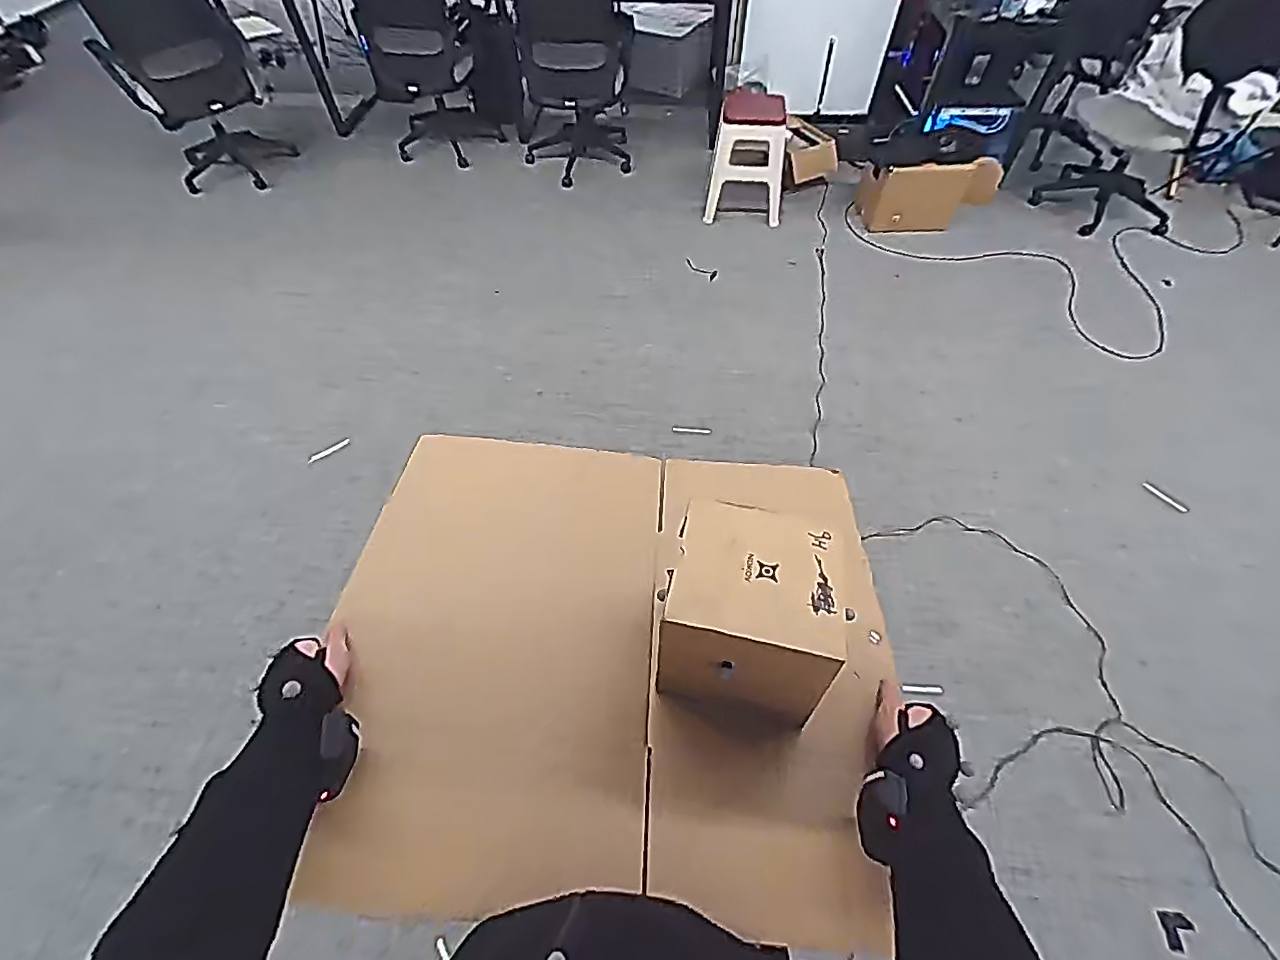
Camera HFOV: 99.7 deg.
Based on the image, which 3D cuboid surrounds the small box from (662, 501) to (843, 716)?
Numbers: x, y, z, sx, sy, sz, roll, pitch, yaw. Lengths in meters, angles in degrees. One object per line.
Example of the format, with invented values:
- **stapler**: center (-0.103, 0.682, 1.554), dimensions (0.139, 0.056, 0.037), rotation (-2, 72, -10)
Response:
- **small box**: center (0.125, 0.151, 0.627), dimensions (0.179, 0.176, 0.168), rotation (10, 48, 9)
